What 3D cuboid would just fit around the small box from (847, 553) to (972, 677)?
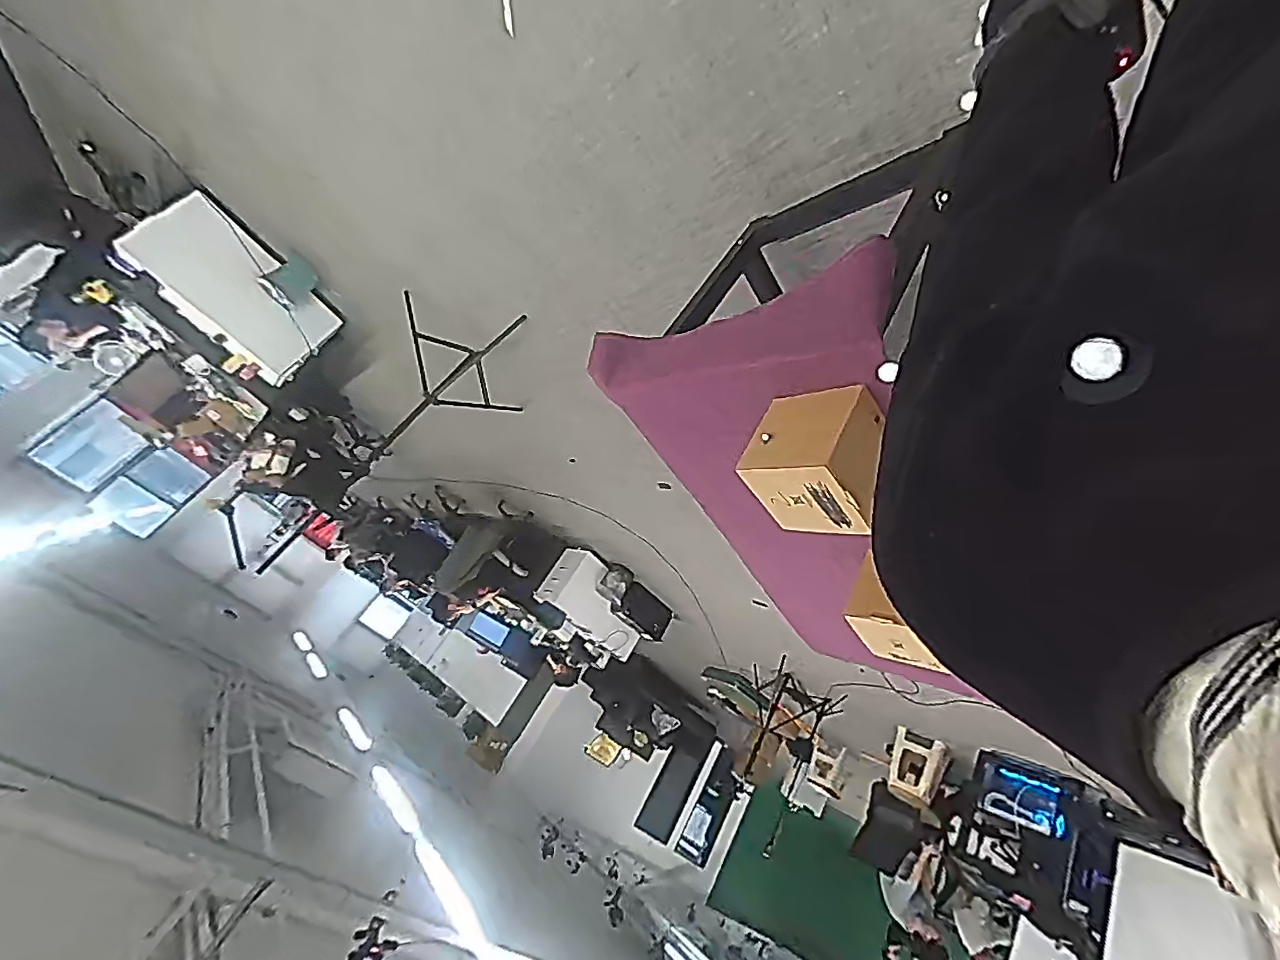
[{"bbox_3d":[0.557,0.268,1.112,0.168,0.176,0.179,0,139,49],"label":"small box"}]
